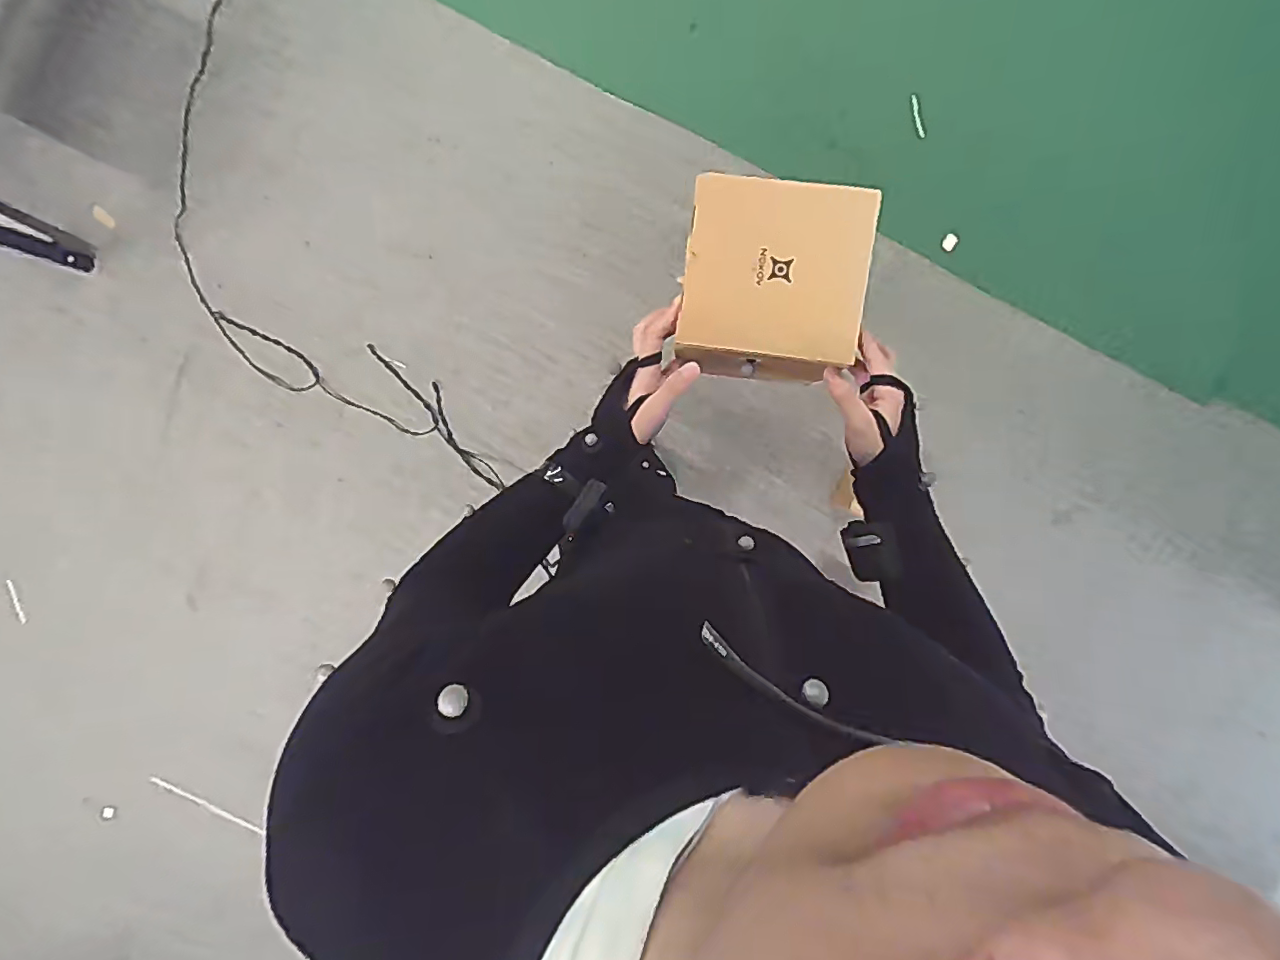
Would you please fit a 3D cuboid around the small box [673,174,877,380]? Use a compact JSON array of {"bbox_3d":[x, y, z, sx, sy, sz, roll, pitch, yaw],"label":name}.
[{"bbox_3d":[0.135,-0.208,0.600,0.179,0.176,0.168,8,94,5],"label":"small box"}]
